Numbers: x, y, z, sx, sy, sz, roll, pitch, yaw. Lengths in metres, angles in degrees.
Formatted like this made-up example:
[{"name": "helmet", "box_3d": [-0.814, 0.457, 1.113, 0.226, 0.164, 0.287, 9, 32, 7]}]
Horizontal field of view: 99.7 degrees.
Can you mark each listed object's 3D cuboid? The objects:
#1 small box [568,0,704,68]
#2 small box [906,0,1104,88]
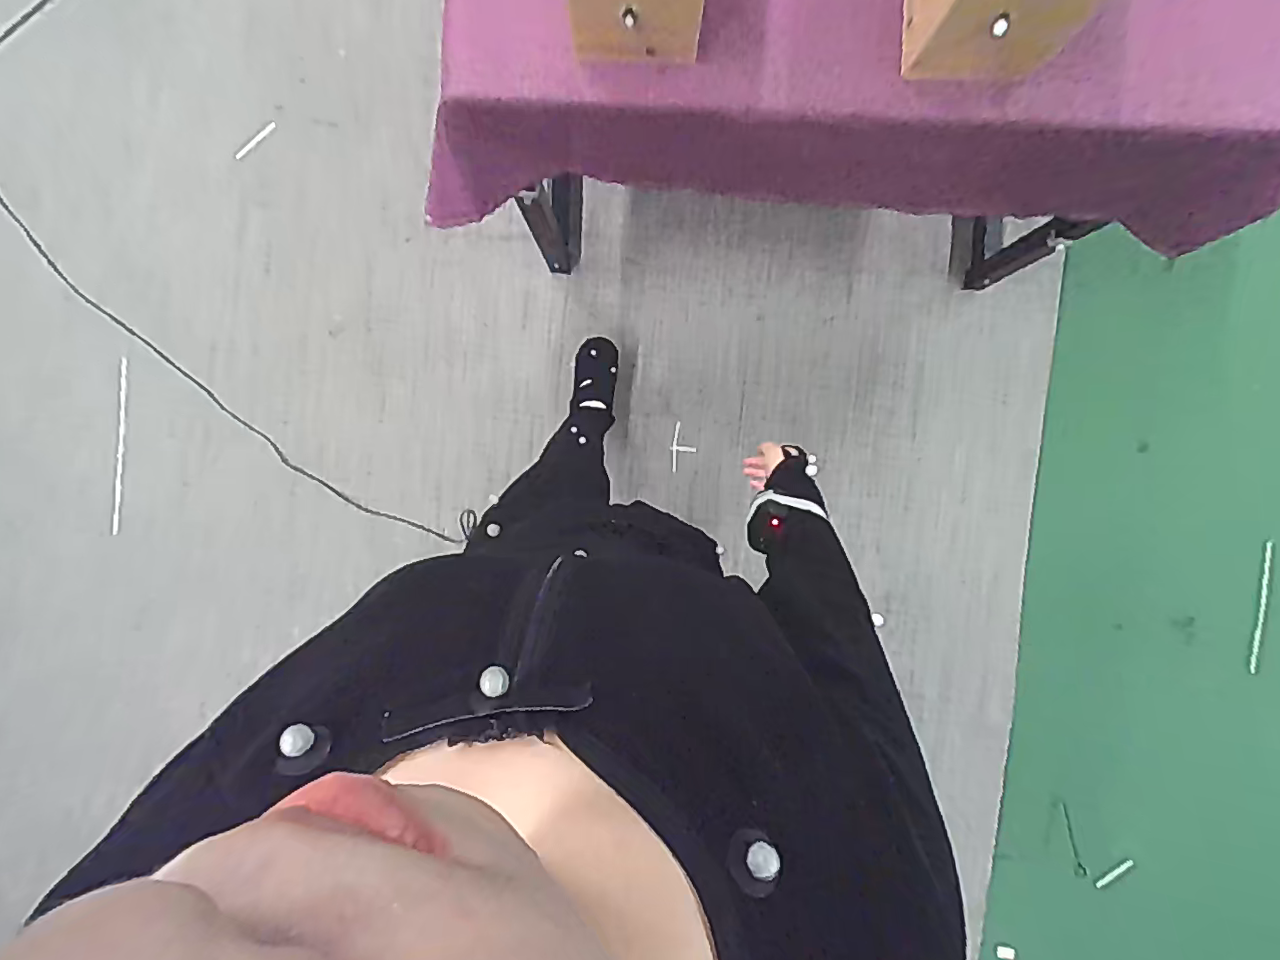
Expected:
[{"name": "small box", "box_3d": [0.000, -0.647, 0.659, 0.168, 0.176, 0.179, 3, 91, 0]}, {"name": "small box", "box_3d": [0.446, -0.616, 0.657, 0.179, 0.176, 0.168, 2, 91, 1]}]
